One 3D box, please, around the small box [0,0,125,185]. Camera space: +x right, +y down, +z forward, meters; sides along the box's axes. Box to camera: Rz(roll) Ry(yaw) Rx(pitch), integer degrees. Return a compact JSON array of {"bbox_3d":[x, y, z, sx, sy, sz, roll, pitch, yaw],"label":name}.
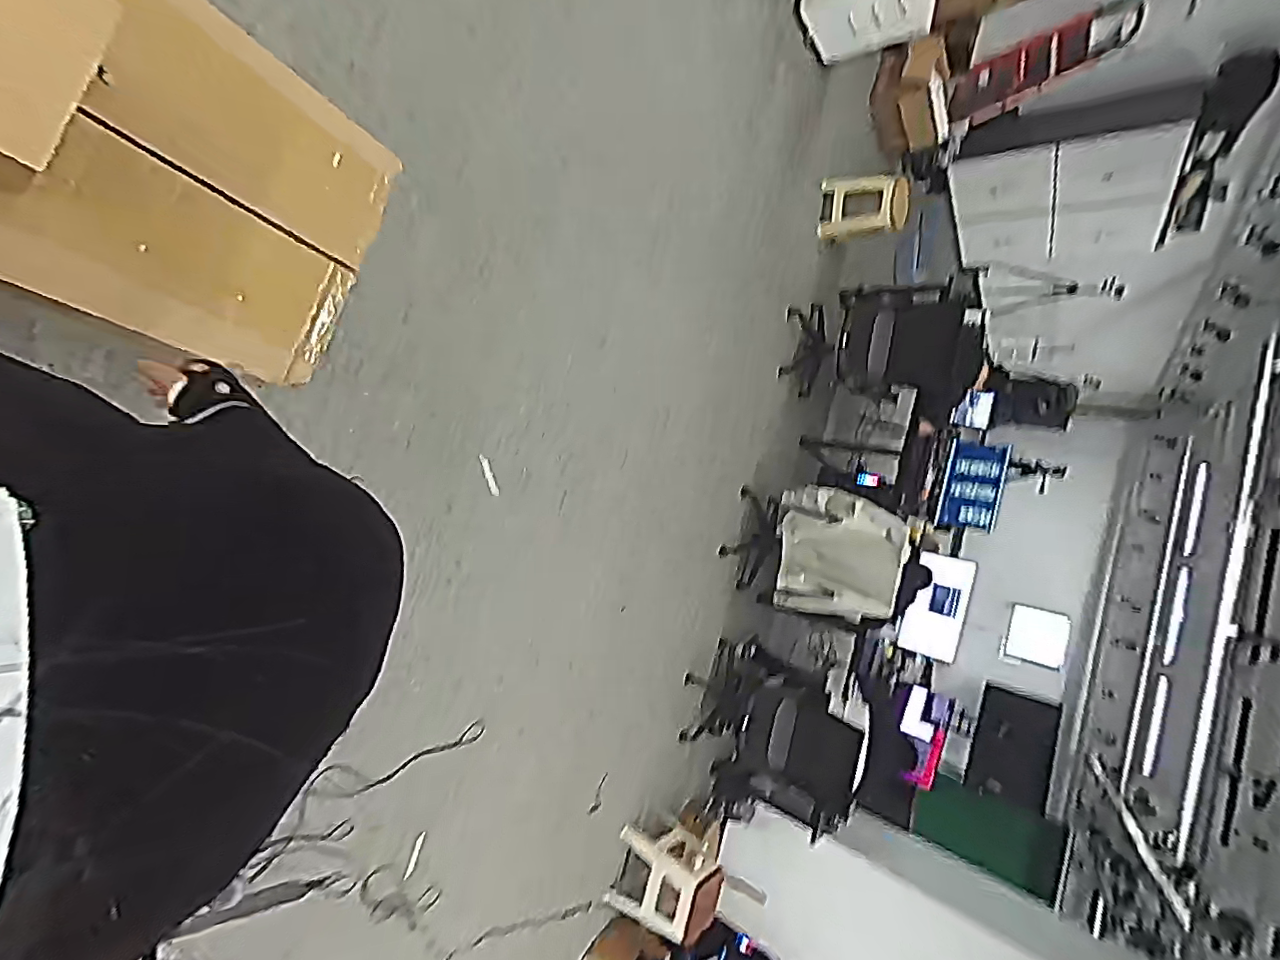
[{"bbox_3d":[-0.605,-0.394,0.471,0.168,0.176,0.179,27,82,-51],"label":"small box"}]
